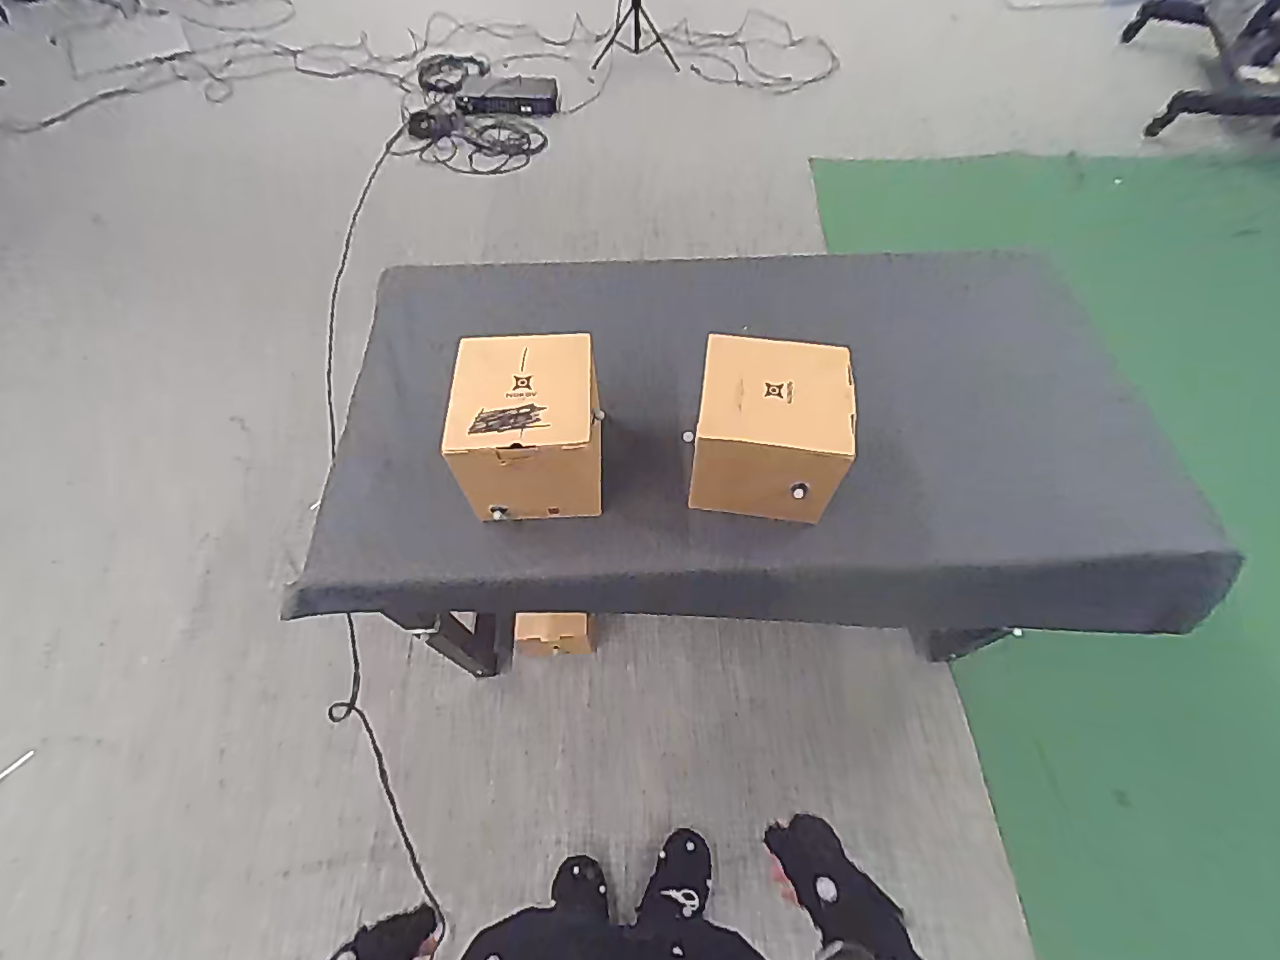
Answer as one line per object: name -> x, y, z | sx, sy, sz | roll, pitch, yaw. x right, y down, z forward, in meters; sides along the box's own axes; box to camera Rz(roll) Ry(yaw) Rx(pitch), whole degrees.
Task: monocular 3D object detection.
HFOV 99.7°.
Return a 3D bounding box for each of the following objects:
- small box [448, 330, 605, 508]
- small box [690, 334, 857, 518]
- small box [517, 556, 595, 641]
small box -> -0.133, -0.072, 0.709 | 0.168, 0.176, 0.179 | -1, 59, -1
small box -> 0.166, -0.063, 0.706 | 0.179, 0.176, 0.168 | 7, 60, 6
small box -> -0.200, 0.299, 1.340 | 0.168, 0.176, 0.179 | -2, 61, 0
